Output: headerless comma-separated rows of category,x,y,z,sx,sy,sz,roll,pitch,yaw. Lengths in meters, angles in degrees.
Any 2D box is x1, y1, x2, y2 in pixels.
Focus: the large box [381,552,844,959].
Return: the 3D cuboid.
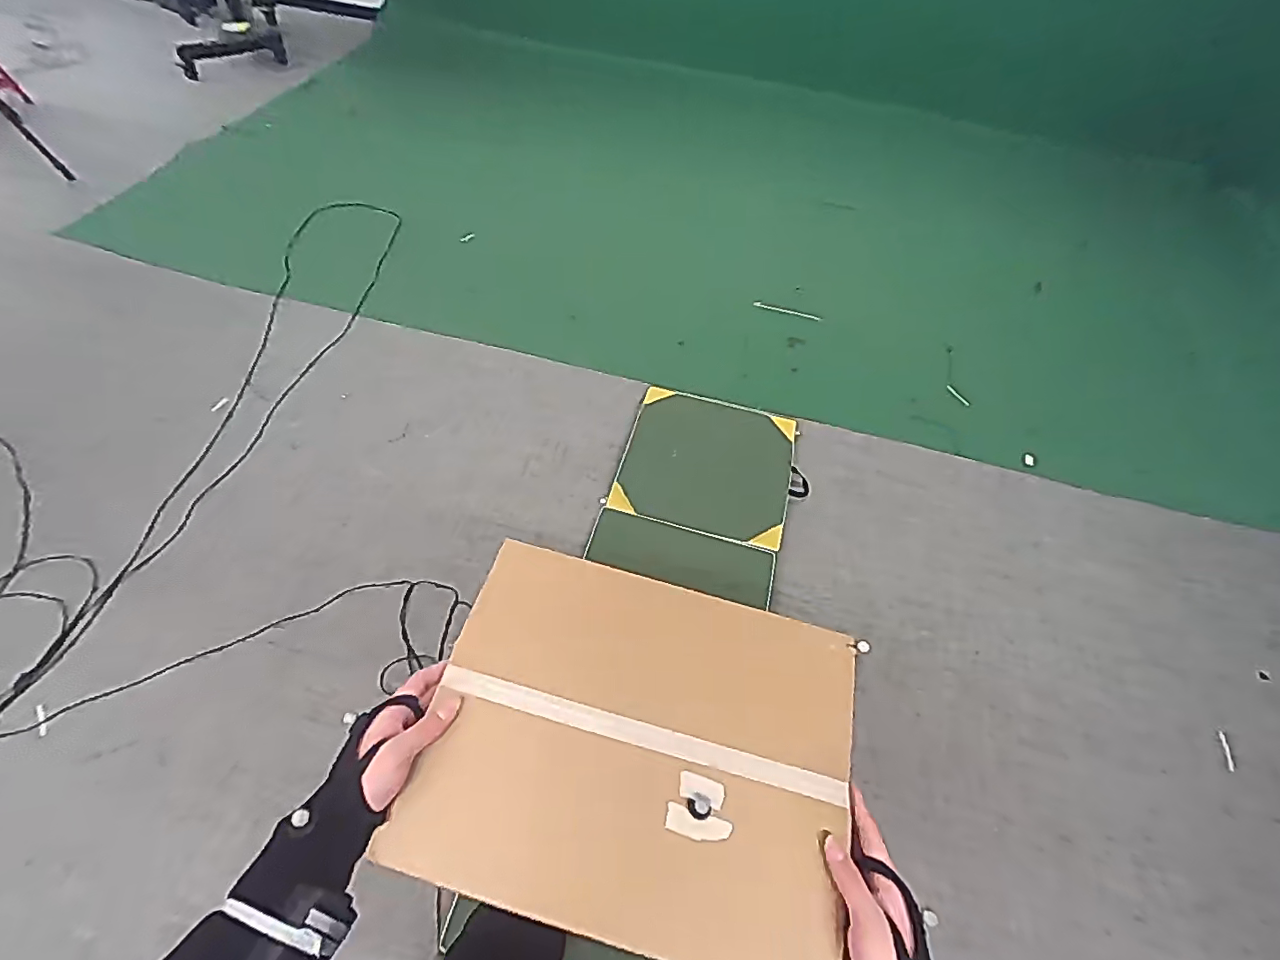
large box,-0.013,0.332,0.658,0.408,0.320,0.320,15,58,4
